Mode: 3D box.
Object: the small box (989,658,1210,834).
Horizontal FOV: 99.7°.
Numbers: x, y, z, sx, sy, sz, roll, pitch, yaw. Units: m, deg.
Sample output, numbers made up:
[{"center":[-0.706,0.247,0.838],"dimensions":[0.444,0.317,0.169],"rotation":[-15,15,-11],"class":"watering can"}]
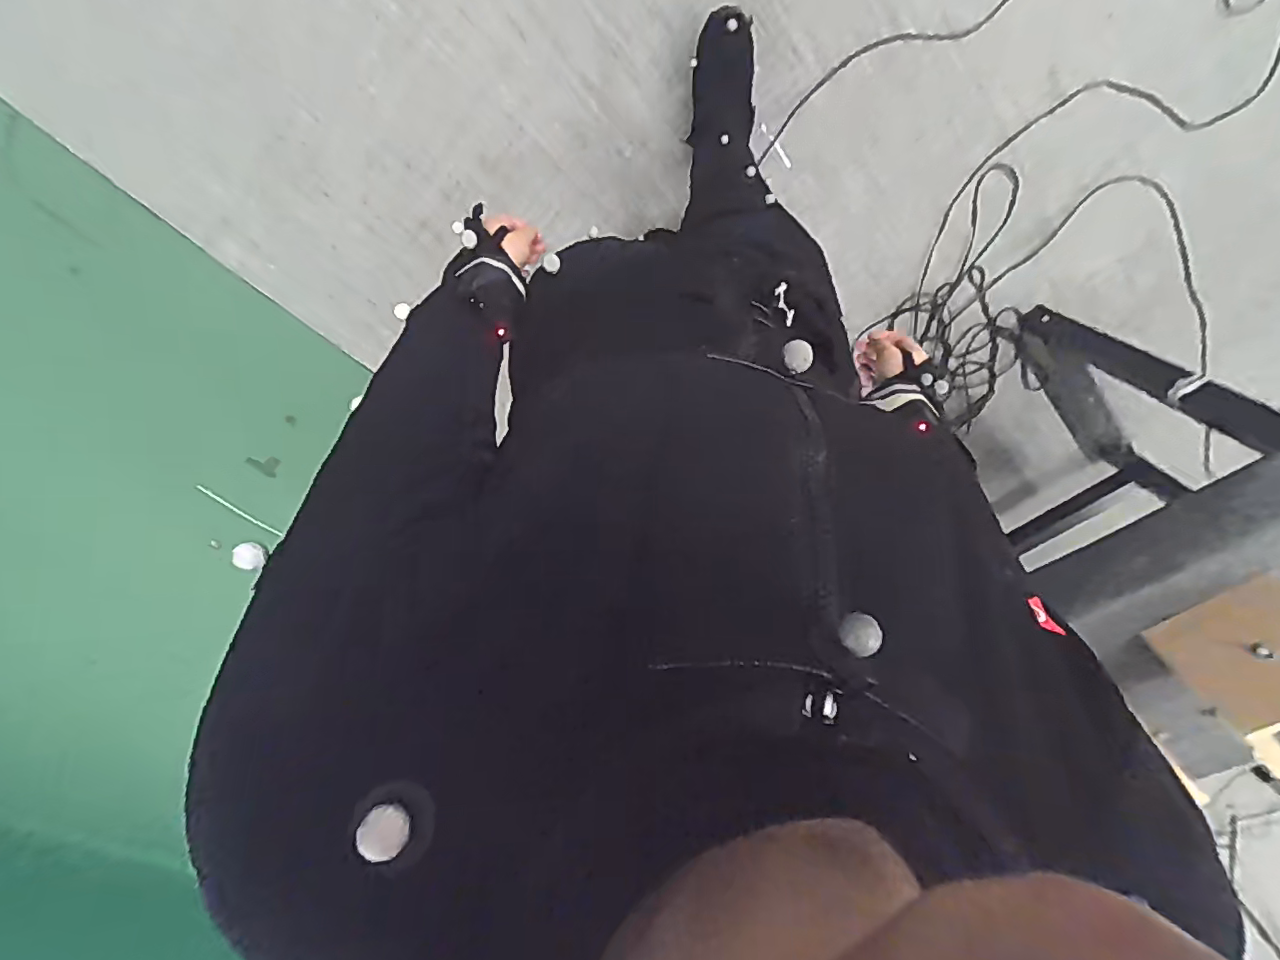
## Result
[{"center":[0.701,0.411,0.844],"dimensions":[0.168,0.176,0.179],"rotation":[36,117,-23],"class":"small box"}]
